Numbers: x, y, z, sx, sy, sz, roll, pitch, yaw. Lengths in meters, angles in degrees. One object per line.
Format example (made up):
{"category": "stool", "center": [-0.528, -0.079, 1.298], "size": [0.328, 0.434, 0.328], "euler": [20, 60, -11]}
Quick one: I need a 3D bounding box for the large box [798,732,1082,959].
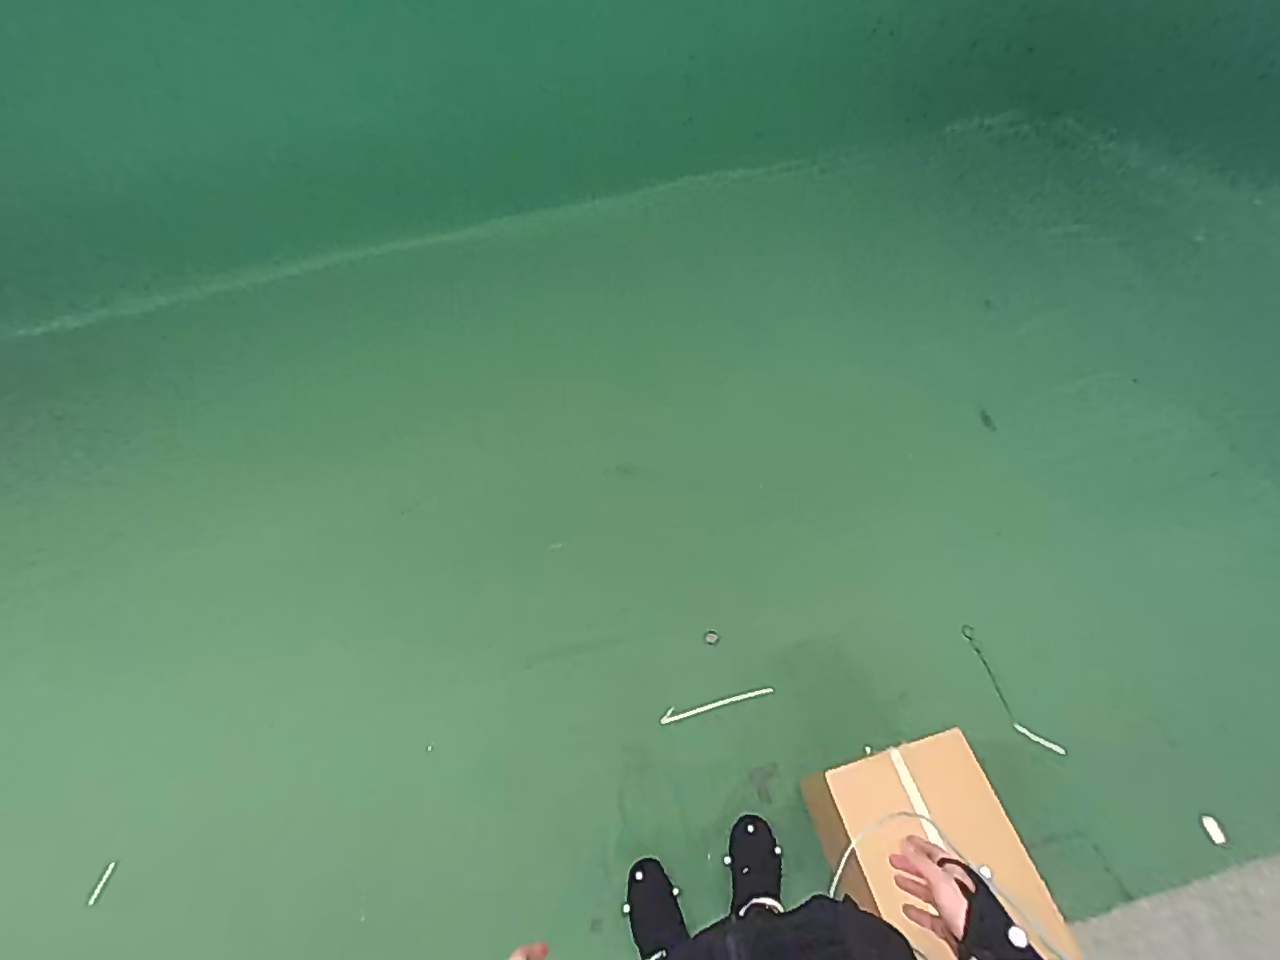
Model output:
{"category": "large box", "center": [0.591, 0.813, 1.168], "size": [0.320, 0.320, 0.408], "euler": [-16, 59, -5]}
